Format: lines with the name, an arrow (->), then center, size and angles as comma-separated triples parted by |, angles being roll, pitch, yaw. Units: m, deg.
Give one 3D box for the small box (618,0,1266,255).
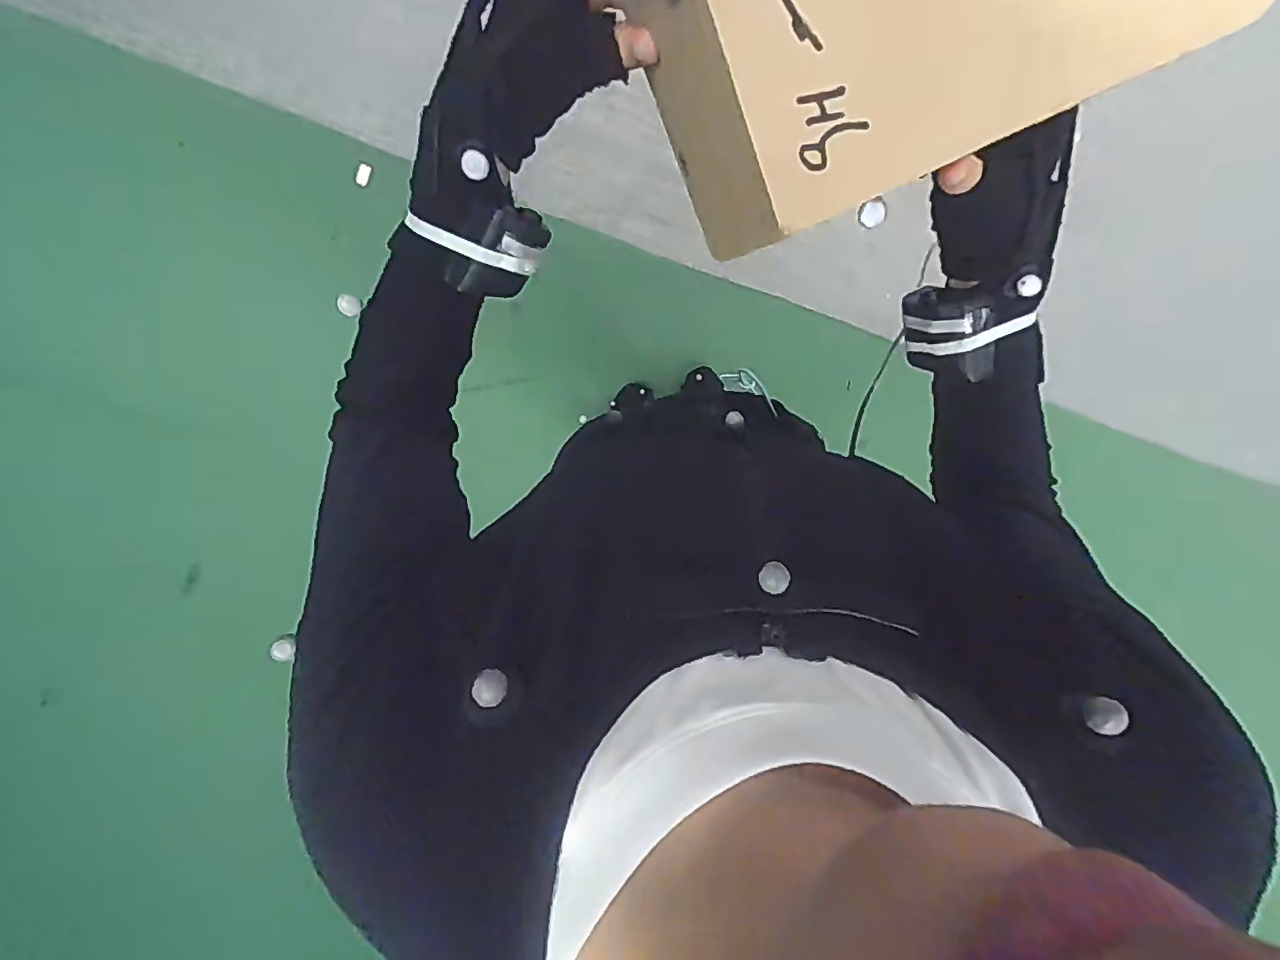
small box -> 0.096, -0.217, 0.239 | 0.179, 0.176, 0.168 | -22, 107, 5
